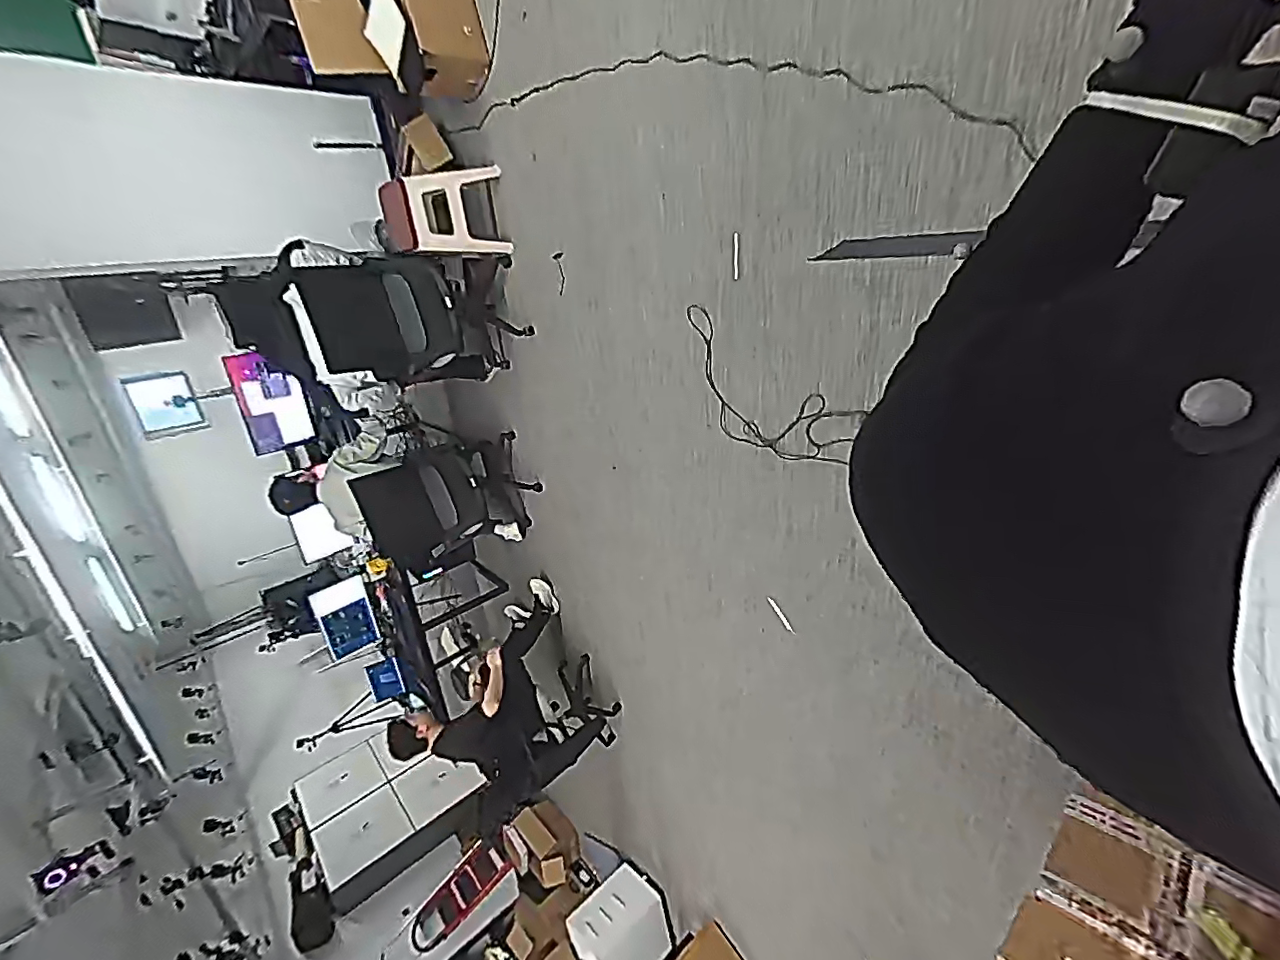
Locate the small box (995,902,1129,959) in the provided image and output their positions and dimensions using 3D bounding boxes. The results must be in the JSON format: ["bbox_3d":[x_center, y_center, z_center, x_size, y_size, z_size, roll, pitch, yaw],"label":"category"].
[{"bbox_3d":[0.823,0.987,1.062,0.179,0.176,0.168,12,114,49],"label":"small box"}]
